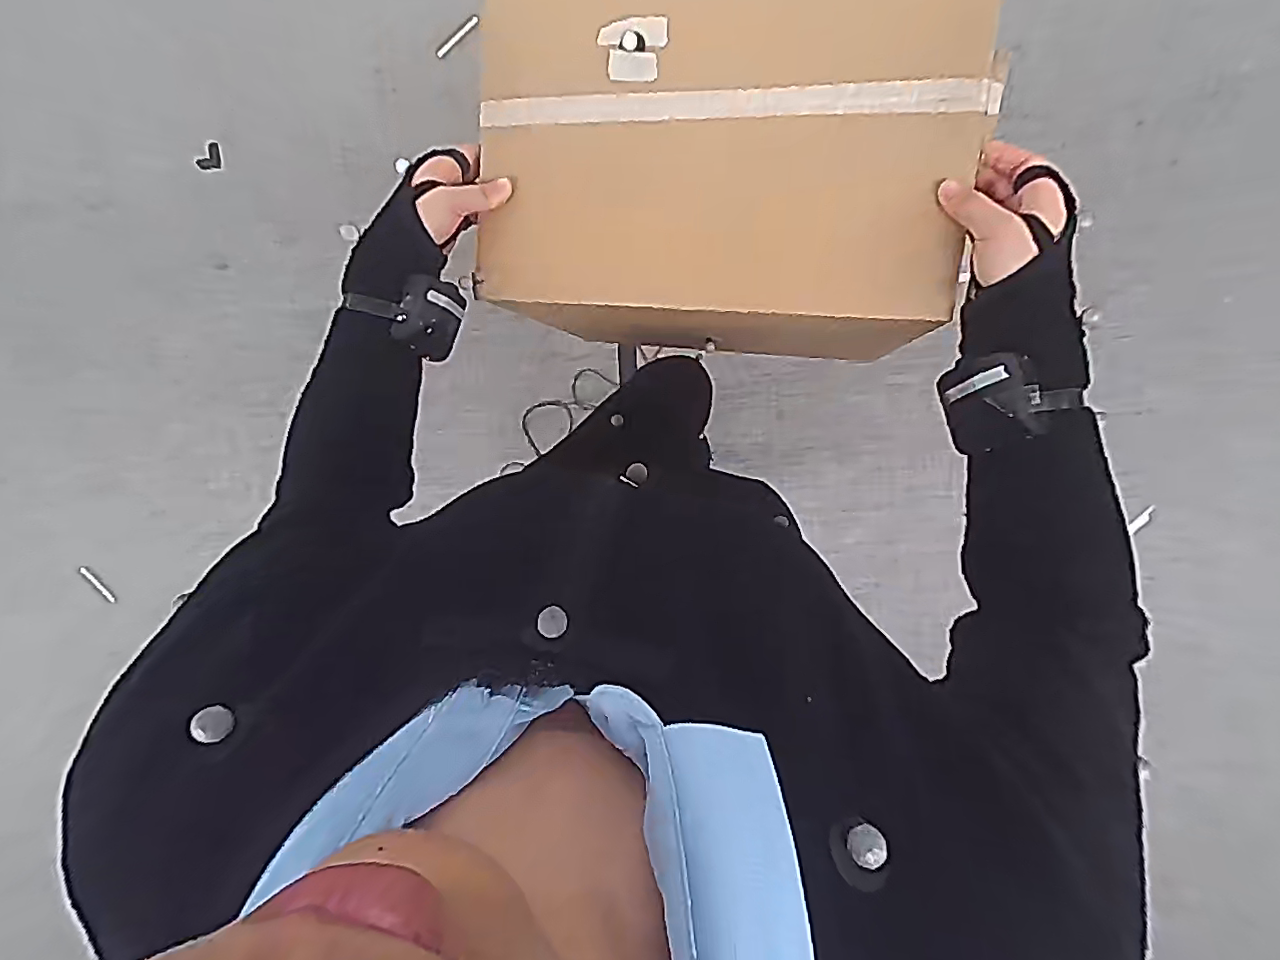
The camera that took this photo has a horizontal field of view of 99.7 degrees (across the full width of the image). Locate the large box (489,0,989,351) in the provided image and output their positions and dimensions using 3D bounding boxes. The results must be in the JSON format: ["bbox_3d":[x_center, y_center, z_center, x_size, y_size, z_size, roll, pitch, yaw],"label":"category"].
[{"bbox_3d":[0.096,-0.317,0.590,0.408,0.320,0.320,7,97,13],"label":"large box"}]
